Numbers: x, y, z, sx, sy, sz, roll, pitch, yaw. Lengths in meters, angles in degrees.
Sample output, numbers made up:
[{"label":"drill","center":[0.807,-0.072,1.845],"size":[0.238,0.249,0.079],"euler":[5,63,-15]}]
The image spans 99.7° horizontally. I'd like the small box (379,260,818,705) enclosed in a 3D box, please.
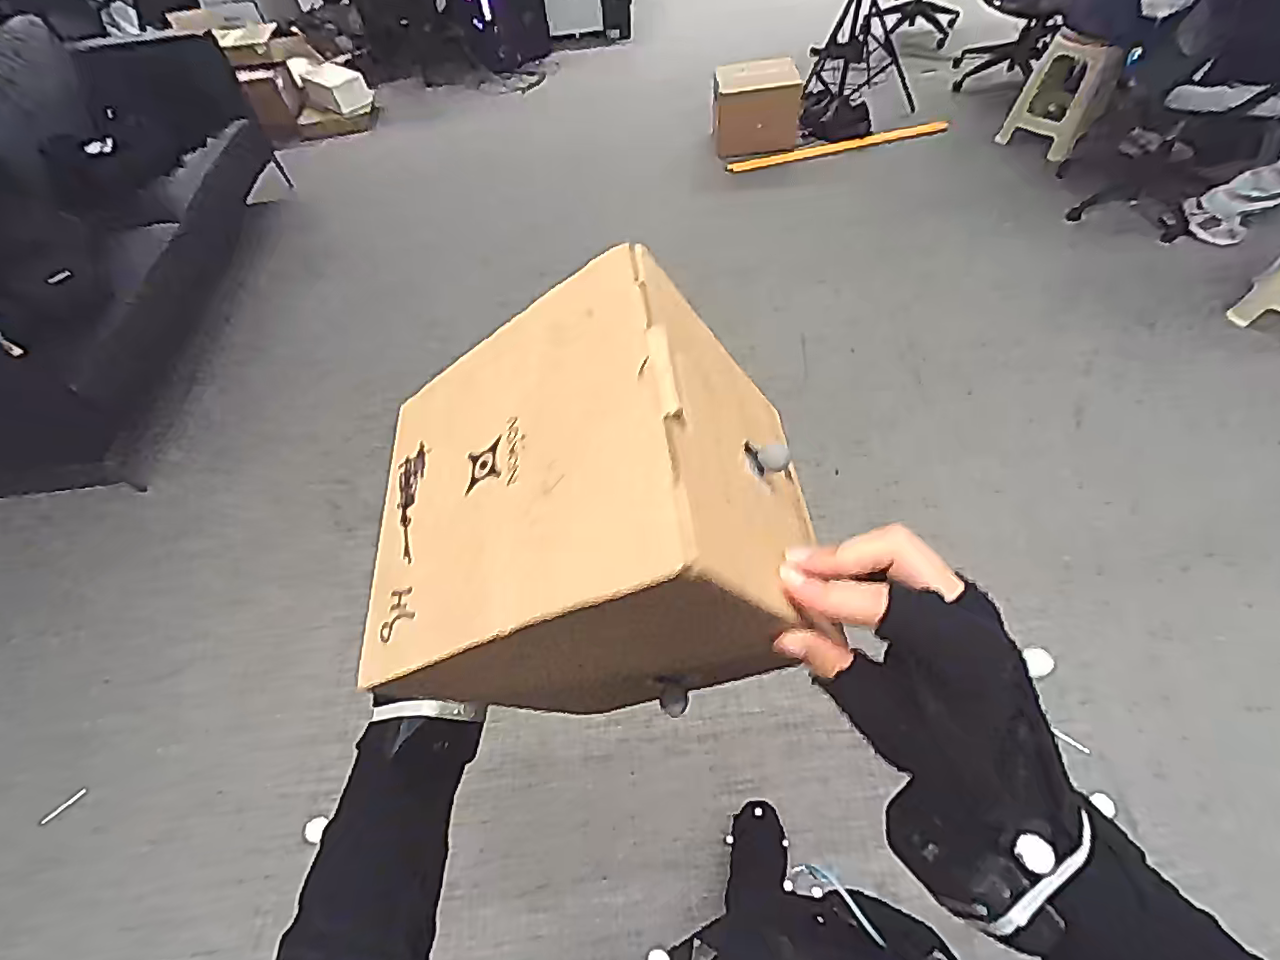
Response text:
[{"label":"small box","center":[-0.013,0.022,0.314],"size":[0.179,0.176,0.168],"euler":[-25,53,24]}]
